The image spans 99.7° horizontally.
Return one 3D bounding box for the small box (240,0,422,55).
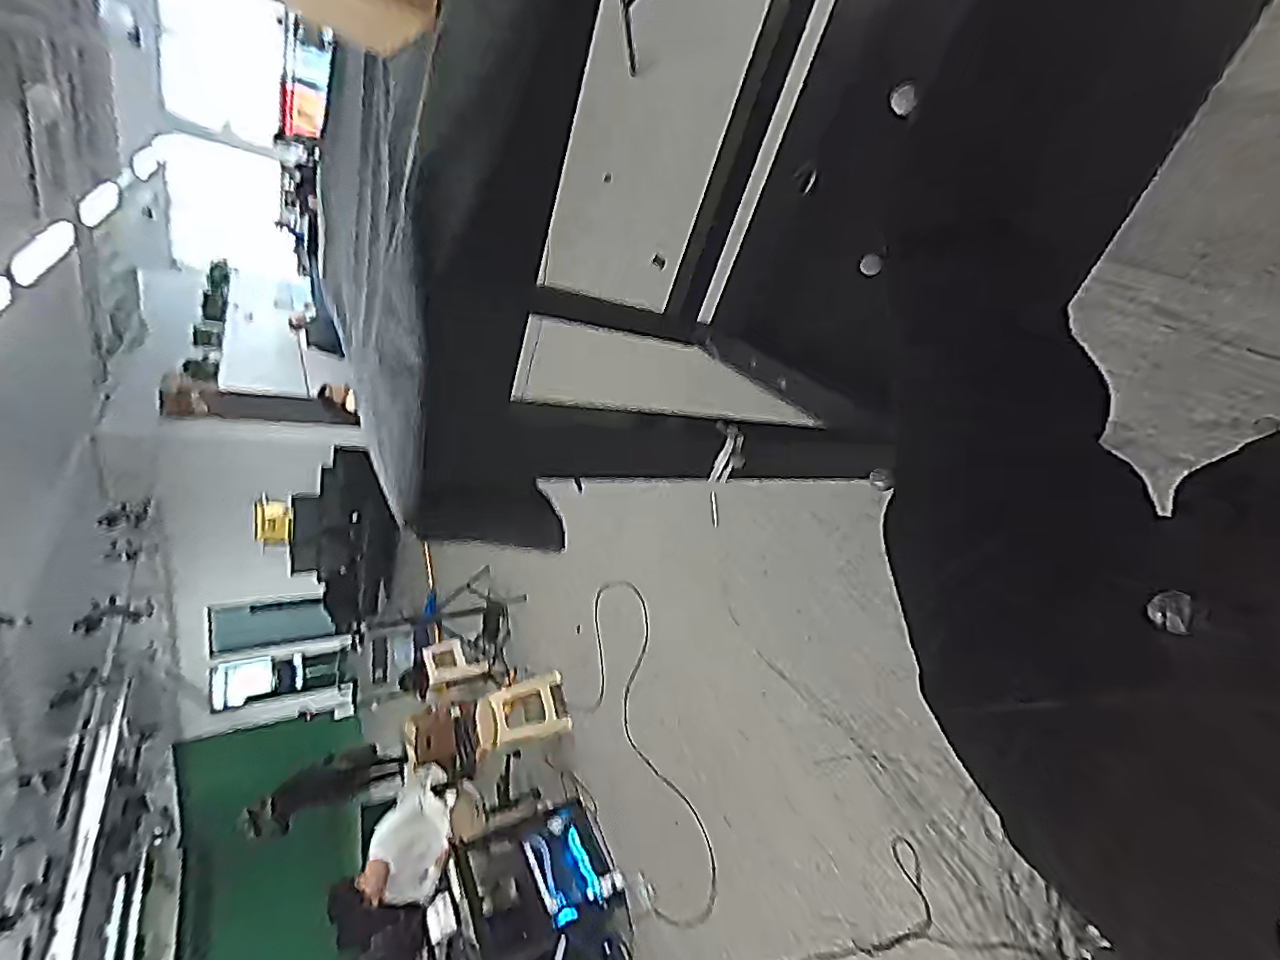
[{"bbox_3d":[-0.200,-0.356,0.277,0.179,0.176,0.168,44,125,47],"label":"small box"}]
